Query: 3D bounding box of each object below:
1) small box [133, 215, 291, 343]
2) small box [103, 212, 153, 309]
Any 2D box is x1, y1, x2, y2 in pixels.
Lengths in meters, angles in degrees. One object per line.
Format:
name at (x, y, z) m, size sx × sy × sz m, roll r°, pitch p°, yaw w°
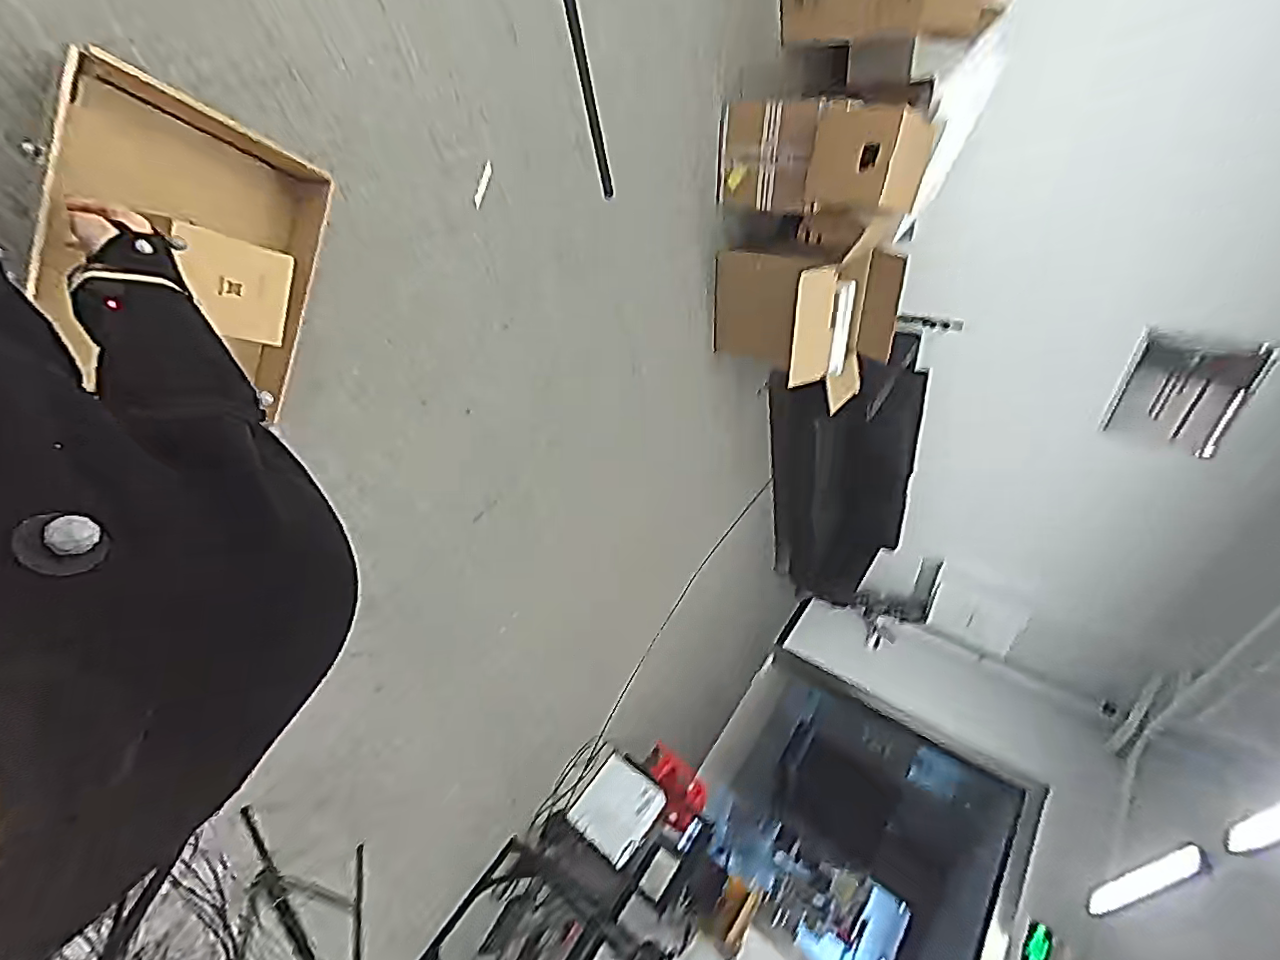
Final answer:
small box at (-0.766, -0.357, 0.965) m, size 0.179 × 0.176 × 0.168 m, roll 0°, pitch 110°, yaw -56°
small box at (-0.895, -0.405, 1.052) m, size 0.179 × 0.176 × 0.168 m, roll 8°, pitch 102°, yaw -56°
